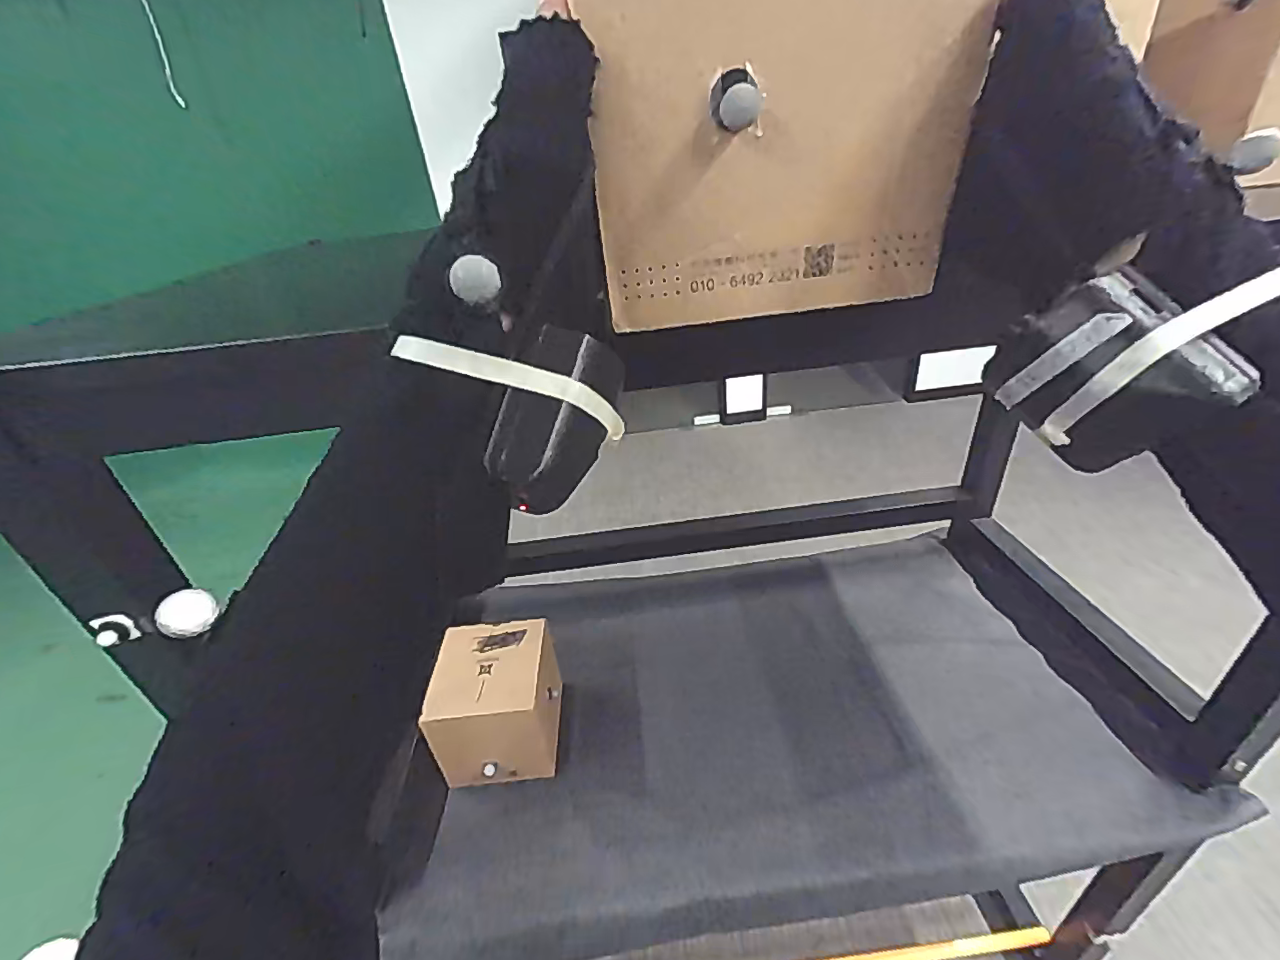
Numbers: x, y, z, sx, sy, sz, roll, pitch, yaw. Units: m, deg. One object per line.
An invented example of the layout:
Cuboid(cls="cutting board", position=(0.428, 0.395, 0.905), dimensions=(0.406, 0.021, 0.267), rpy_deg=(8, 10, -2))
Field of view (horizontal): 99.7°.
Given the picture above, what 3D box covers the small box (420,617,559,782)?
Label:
Cuboid(cls="small box", position=(-0.226, 0.347, 0.865), dimensions=(0.168, 0.176, 0.179), rpy_deg=(-6, 32, 0))
